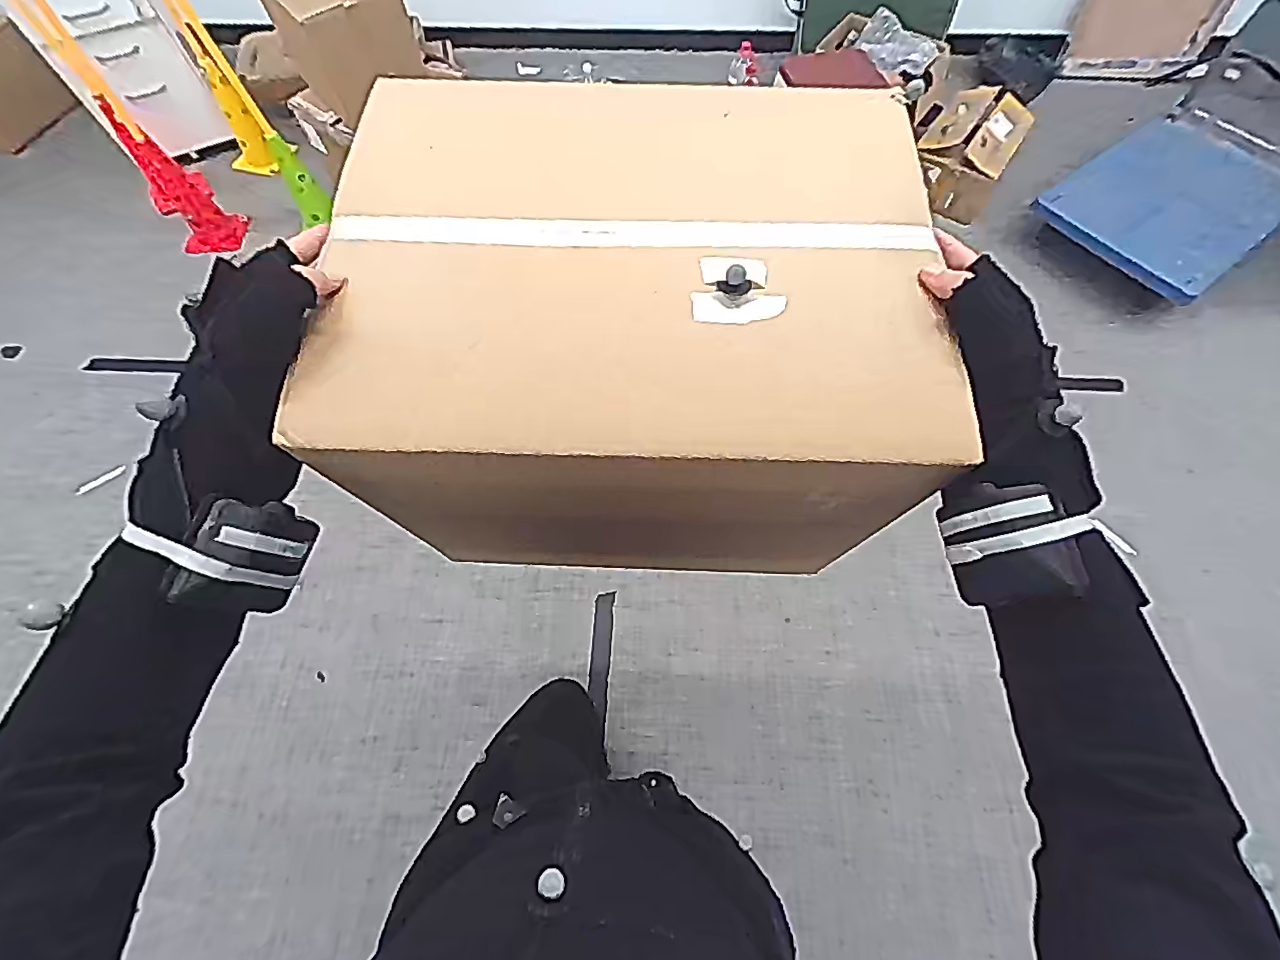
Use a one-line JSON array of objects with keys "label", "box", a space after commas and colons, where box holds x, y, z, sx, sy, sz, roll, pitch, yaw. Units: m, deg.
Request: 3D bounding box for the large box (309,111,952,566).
[{"label": "large box", "box": [-0.005, -0.103, 0.522, 0.408, 0.320, 0.320, 2, 69, 0]}]
